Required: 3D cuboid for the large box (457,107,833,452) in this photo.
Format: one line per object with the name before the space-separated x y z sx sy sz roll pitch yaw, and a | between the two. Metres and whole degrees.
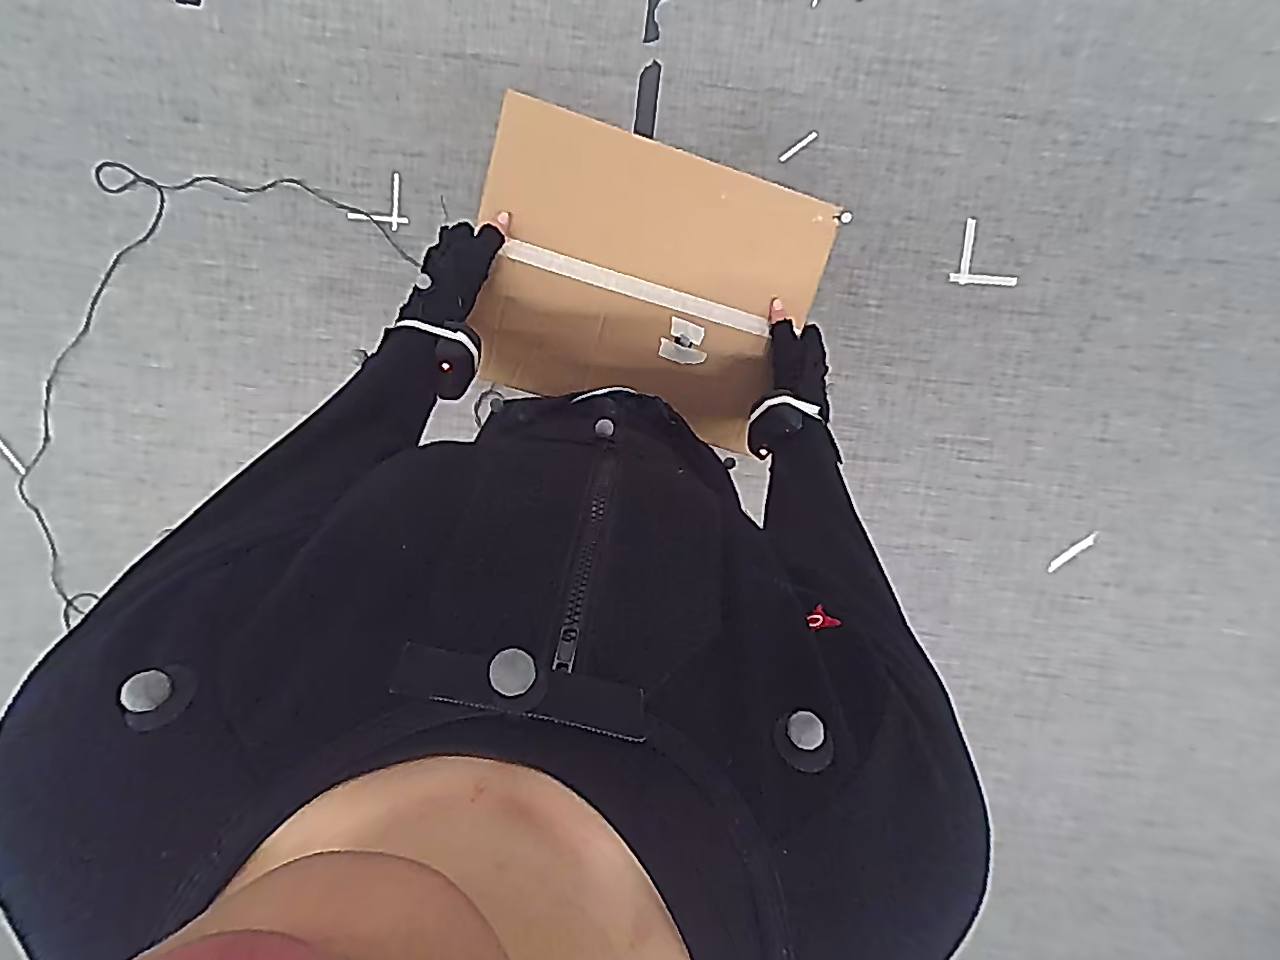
large box | -0.008 -0.261 0.800 0.408 0.320 0.320 16 103 -8
